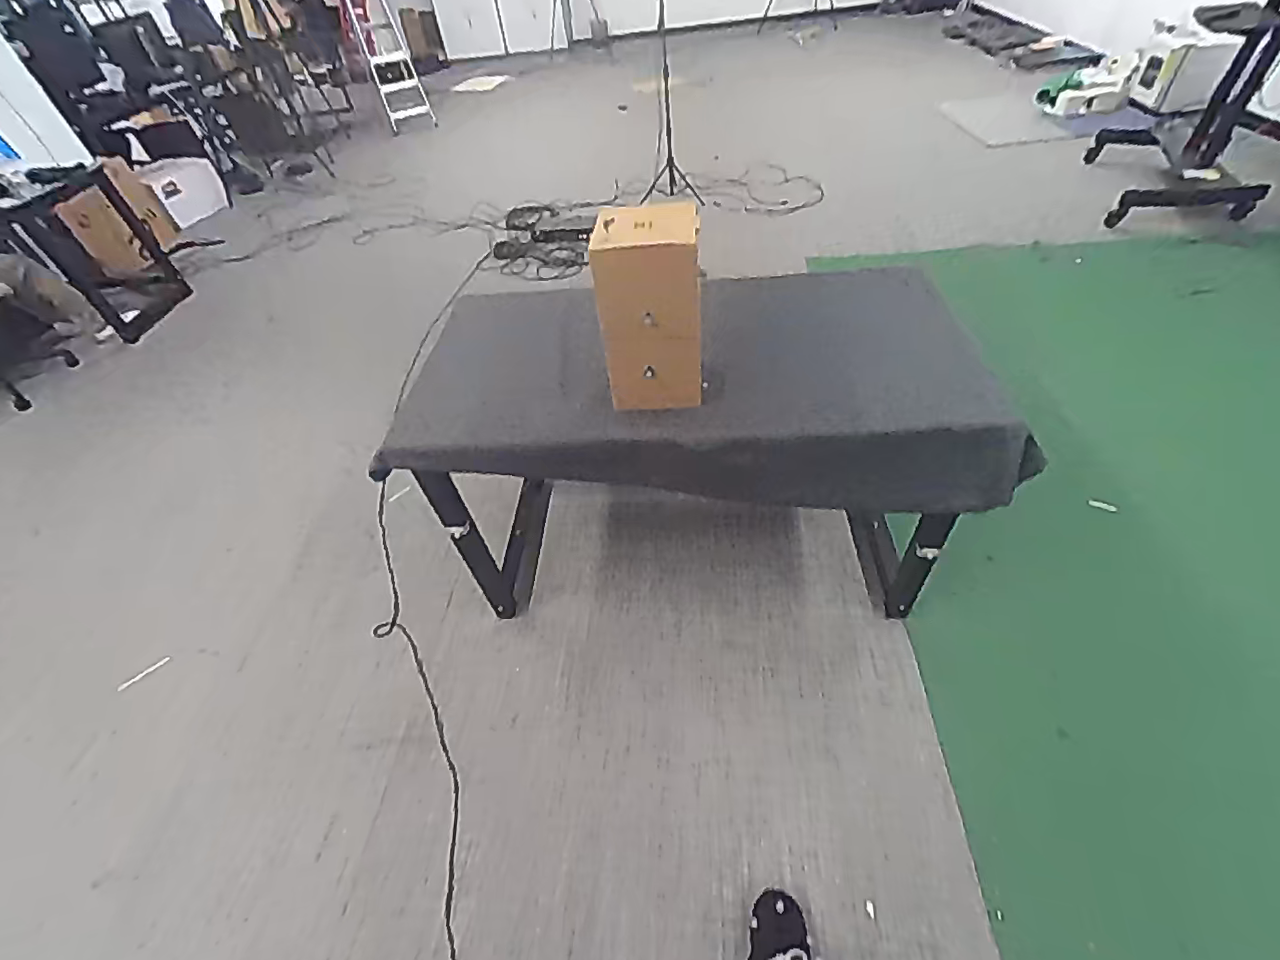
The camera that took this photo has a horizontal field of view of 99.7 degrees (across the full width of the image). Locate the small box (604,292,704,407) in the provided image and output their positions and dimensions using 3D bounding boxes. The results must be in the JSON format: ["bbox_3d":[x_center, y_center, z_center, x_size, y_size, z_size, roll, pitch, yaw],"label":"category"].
[{"bbox_3d":[0.037,-0.260,1.083,0.179,0.176,0.168,1,46,9],"label":"small box"}]

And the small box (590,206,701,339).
[{"bbox_3d":[0.019,-0.366,0.964,0.179,0.176,0.168,0,47,7],"label":"small box"}]
